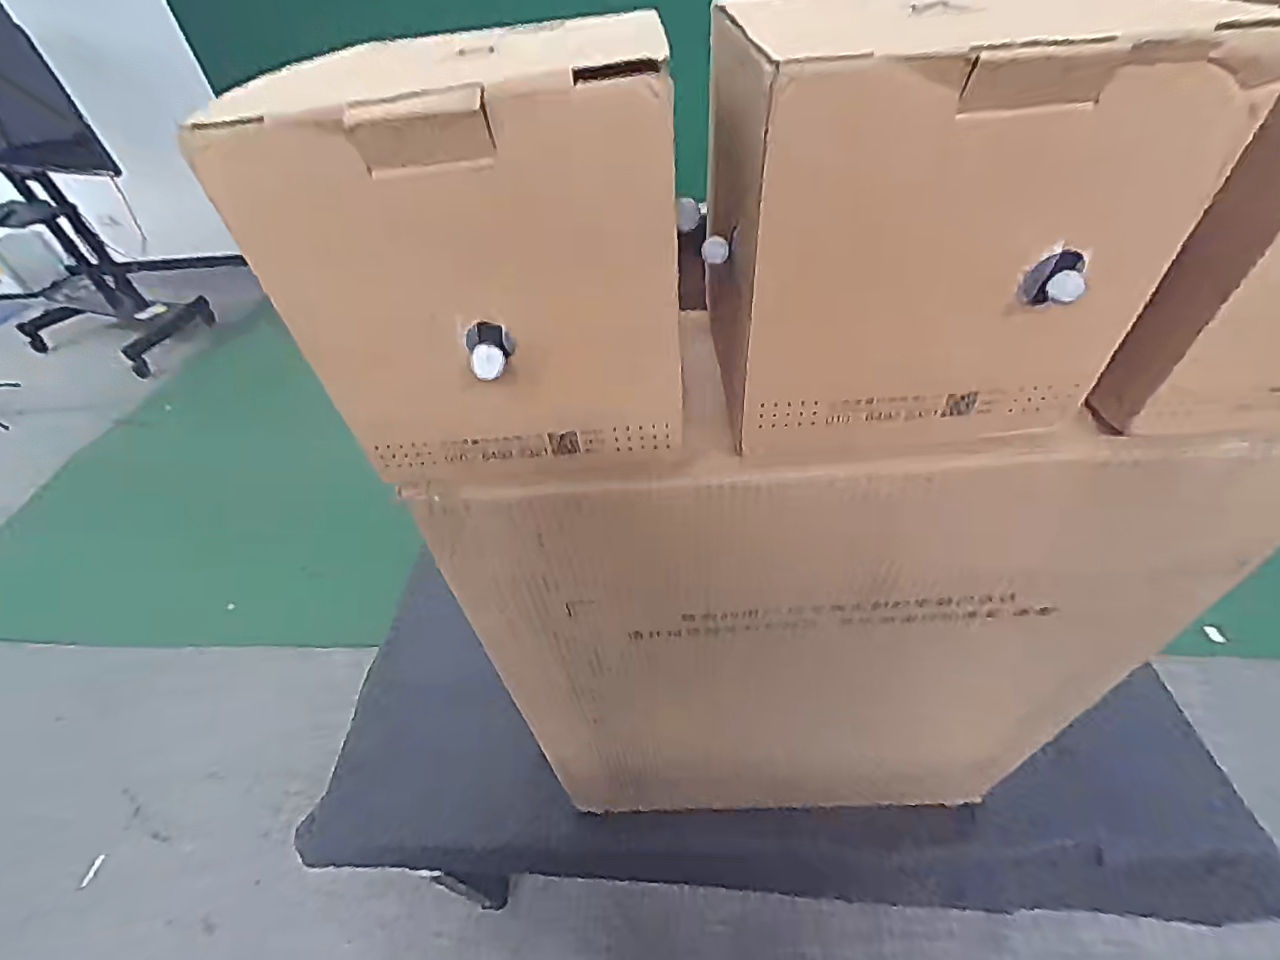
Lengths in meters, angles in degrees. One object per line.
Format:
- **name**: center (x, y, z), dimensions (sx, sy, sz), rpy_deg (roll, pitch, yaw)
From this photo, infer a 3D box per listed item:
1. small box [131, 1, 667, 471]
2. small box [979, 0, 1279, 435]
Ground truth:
- **small box**: center (-0.075, -0.117, 0.281), dimensions (0.168, 0.176, 0.179), rpy_deg (-4, 46, 4)
- **small box**: center (0.303, -0.141, 0.257), dimensions (0.168, 0.176, 0.179), rpy_deg (-3, 47, 3)
